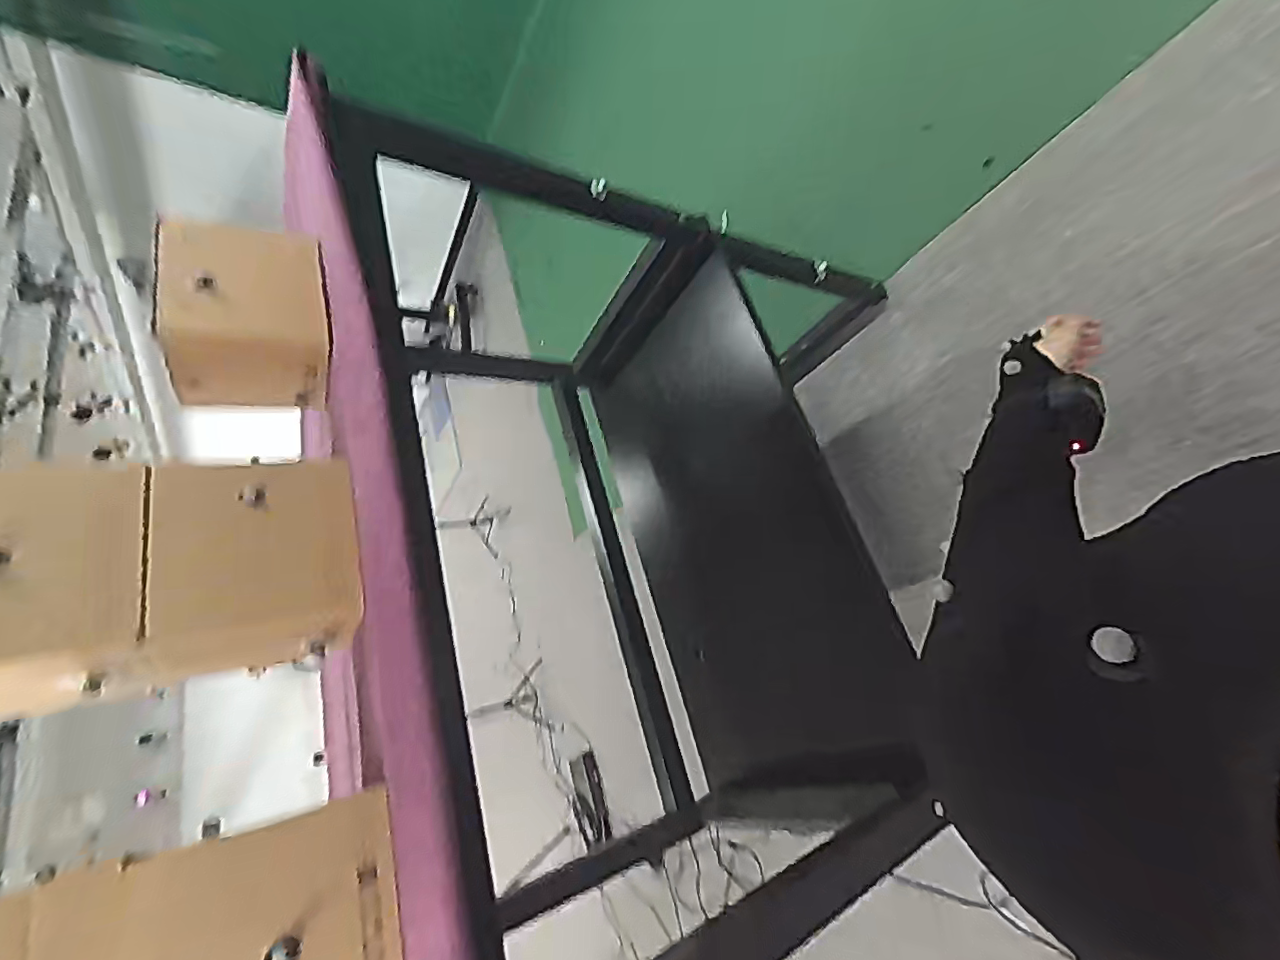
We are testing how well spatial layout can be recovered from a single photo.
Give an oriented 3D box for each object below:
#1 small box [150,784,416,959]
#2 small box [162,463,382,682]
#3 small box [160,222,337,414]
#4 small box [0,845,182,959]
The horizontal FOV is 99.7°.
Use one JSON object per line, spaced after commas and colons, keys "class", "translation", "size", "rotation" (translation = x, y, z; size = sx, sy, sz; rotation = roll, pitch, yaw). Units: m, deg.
{"class": "small box", "translation": [-0.293, 0.375, 0.457], "size": [0.179, 0.176, 0.168], "rotation": [-44, 57, 46]}
{"class": "small box", "translation": [-0.389, 0.094, 0.580], "size": [0.168, 0.176, 0.179], "rotation": [-44, 58, 47]}
{"class": "small box", "translation": [-0.507, -0.204, 0.718], "size": [0.168, 0.176, 0.179], "rotation": [-43, 59, 50]}
{"class": "small box", "translation": [-0.425, 0.379, 0.363], "size": [0.168, 0.176, 0.179], "rotation": [-44, 56, 45]}
